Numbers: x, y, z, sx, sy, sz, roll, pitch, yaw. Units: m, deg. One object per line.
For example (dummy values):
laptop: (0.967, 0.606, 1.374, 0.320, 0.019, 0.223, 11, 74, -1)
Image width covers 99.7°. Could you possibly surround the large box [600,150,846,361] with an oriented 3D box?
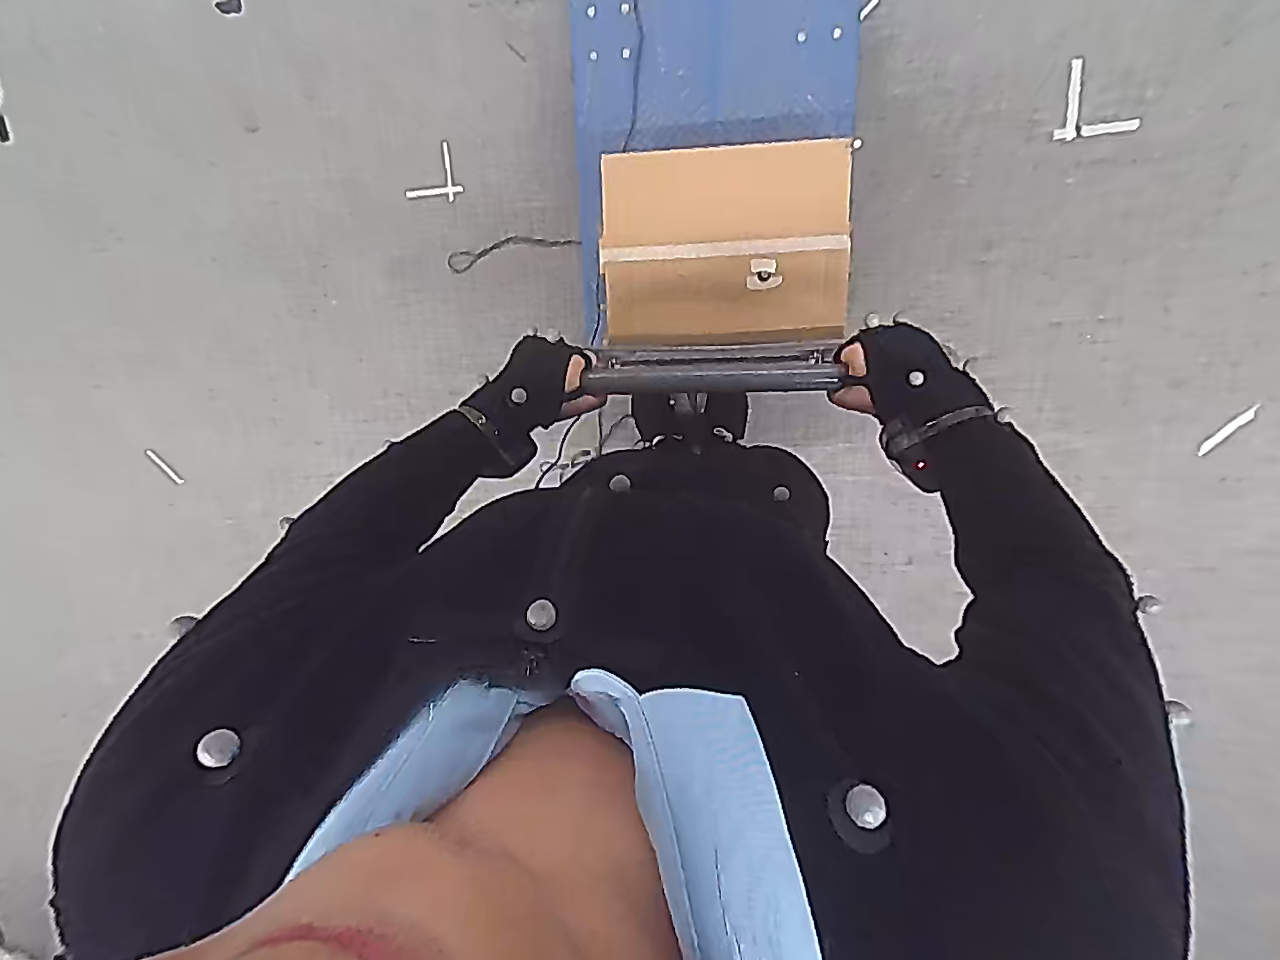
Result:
large box: (0.148, -0.400, 1.052, 0.408, 0.320, 0.320, -1, 102, 5)
